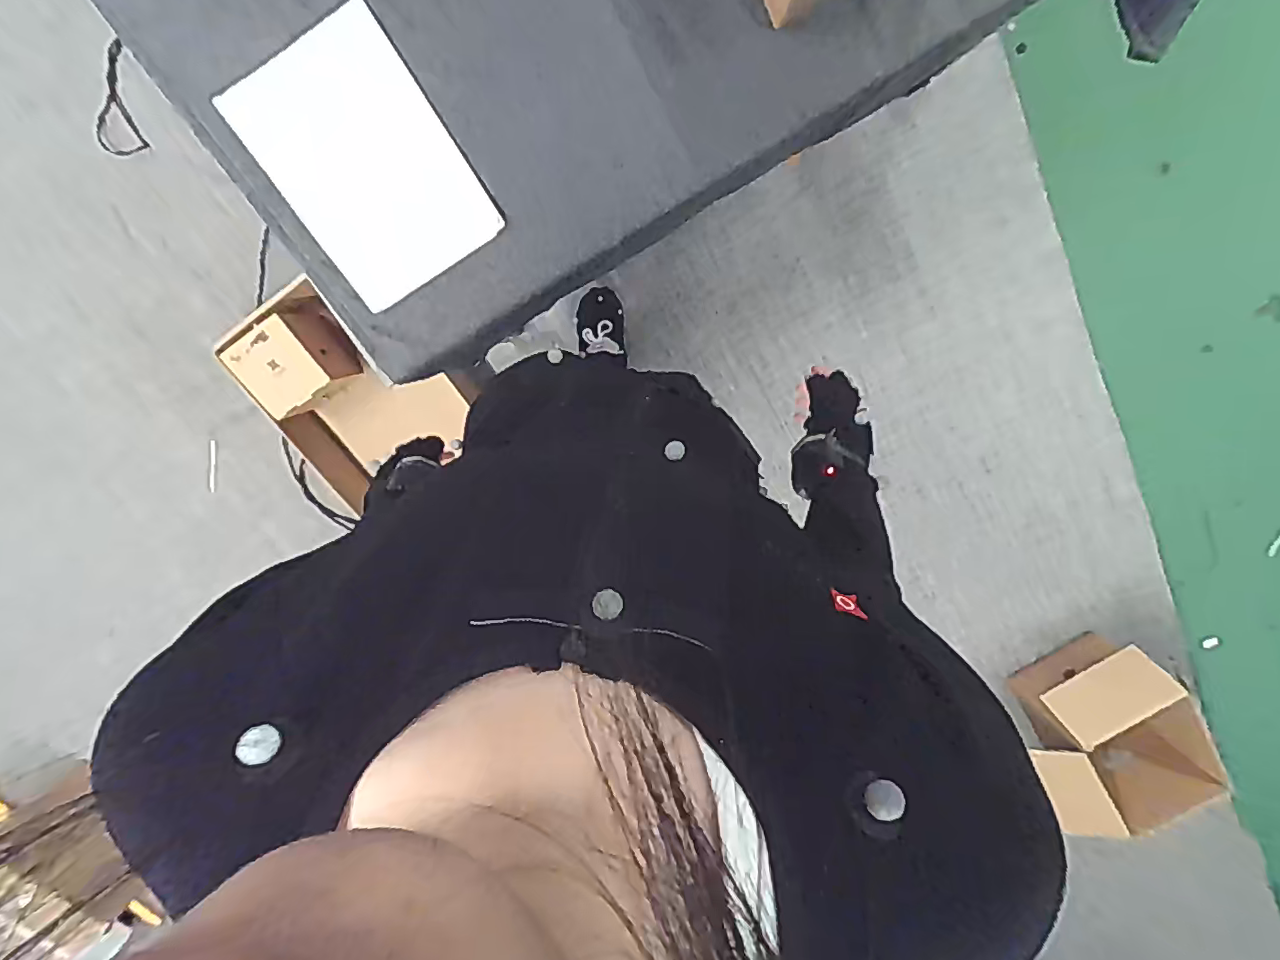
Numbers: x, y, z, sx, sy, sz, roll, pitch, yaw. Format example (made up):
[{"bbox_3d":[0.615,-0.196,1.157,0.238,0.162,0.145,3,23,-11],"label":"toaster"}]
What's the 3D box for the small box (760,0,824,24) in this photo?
[{"bbox_3d":[0.189,-0.585,0.494,0.179,0.176,0.168,-28,105,7],"label":"small box"}]
